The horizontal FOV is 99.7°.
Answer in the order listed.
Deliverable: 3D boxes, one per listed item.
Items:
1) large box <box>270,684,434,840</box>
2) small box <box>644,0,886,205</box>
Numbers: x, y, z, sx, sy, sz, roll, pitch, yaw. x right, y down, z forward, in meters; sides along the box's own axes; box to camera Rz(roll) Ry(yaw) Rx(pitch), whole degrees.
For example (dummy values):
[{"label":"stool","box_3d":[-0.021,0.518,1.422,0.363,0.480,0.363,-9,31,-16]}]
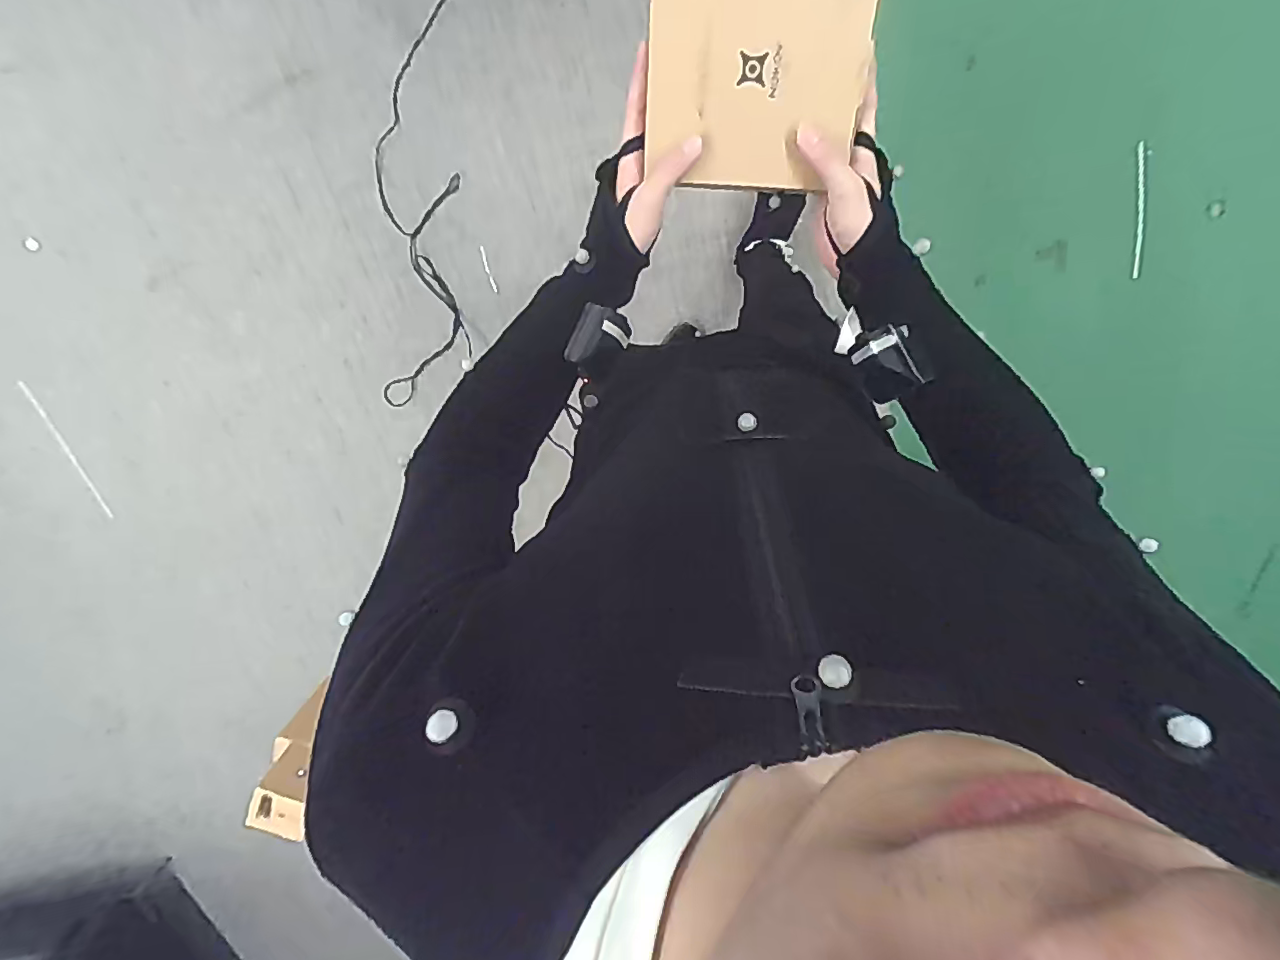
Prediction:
[{"label":"large box","box_3d":[-0.998,0.979,1.902,0.408,0.320,0.320,16,111,-4]},{"label":"small box","box_3d":[0.096,-0.352,0.499,0.179,0.176,0.168,3,117,1]}]
